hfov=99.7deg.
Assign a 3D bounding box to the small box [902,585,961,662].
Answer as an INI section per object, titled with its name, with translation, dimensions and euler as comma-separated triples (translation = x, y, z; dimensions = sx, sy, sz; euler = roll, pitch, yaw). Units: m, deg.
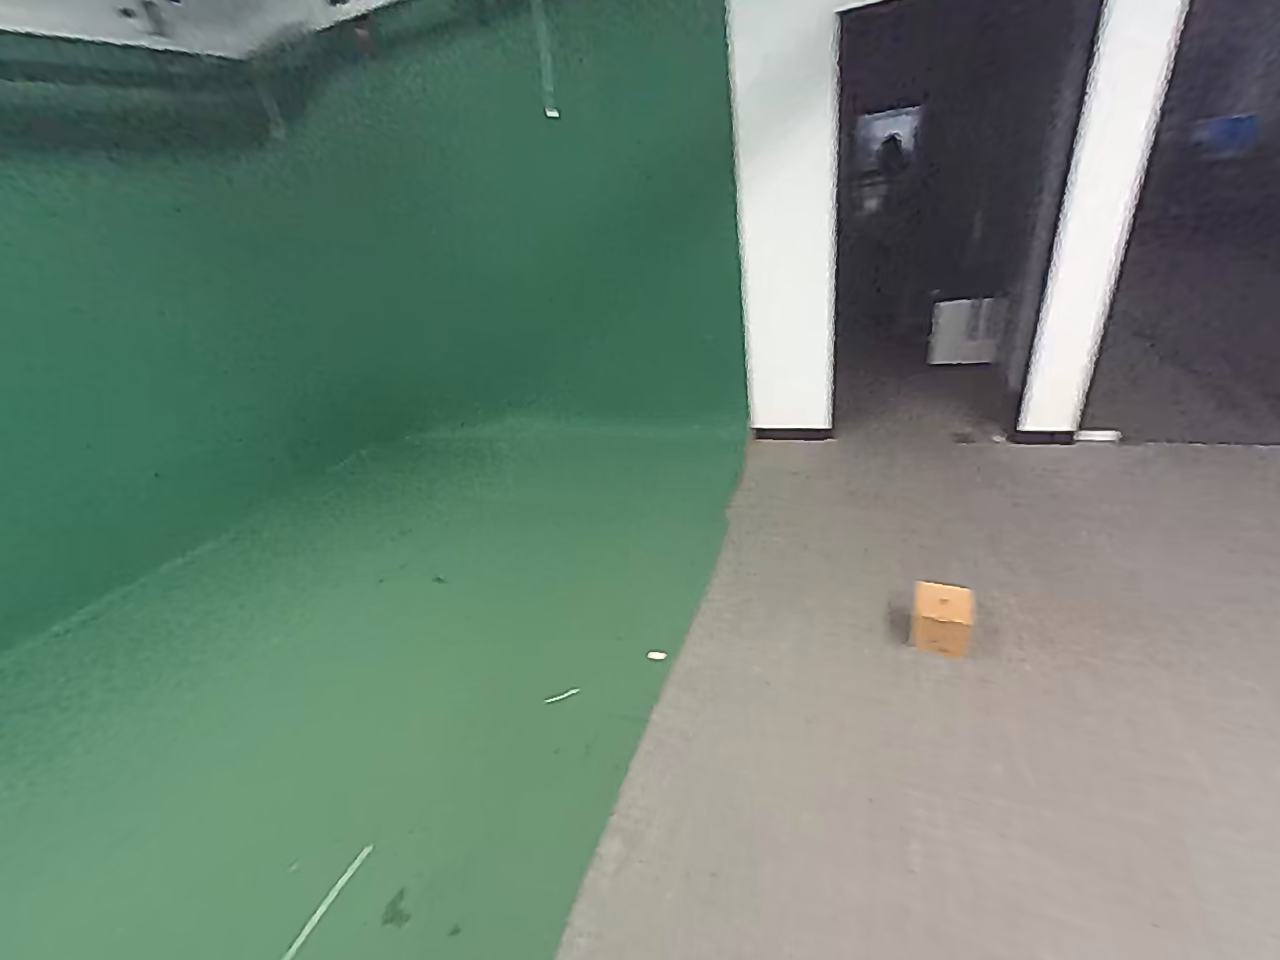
[small box]
translation = 1.014, 0.497, 1.884
dimensions = 0.168, 0.176, 0.179
euler = 7, 33, 27
